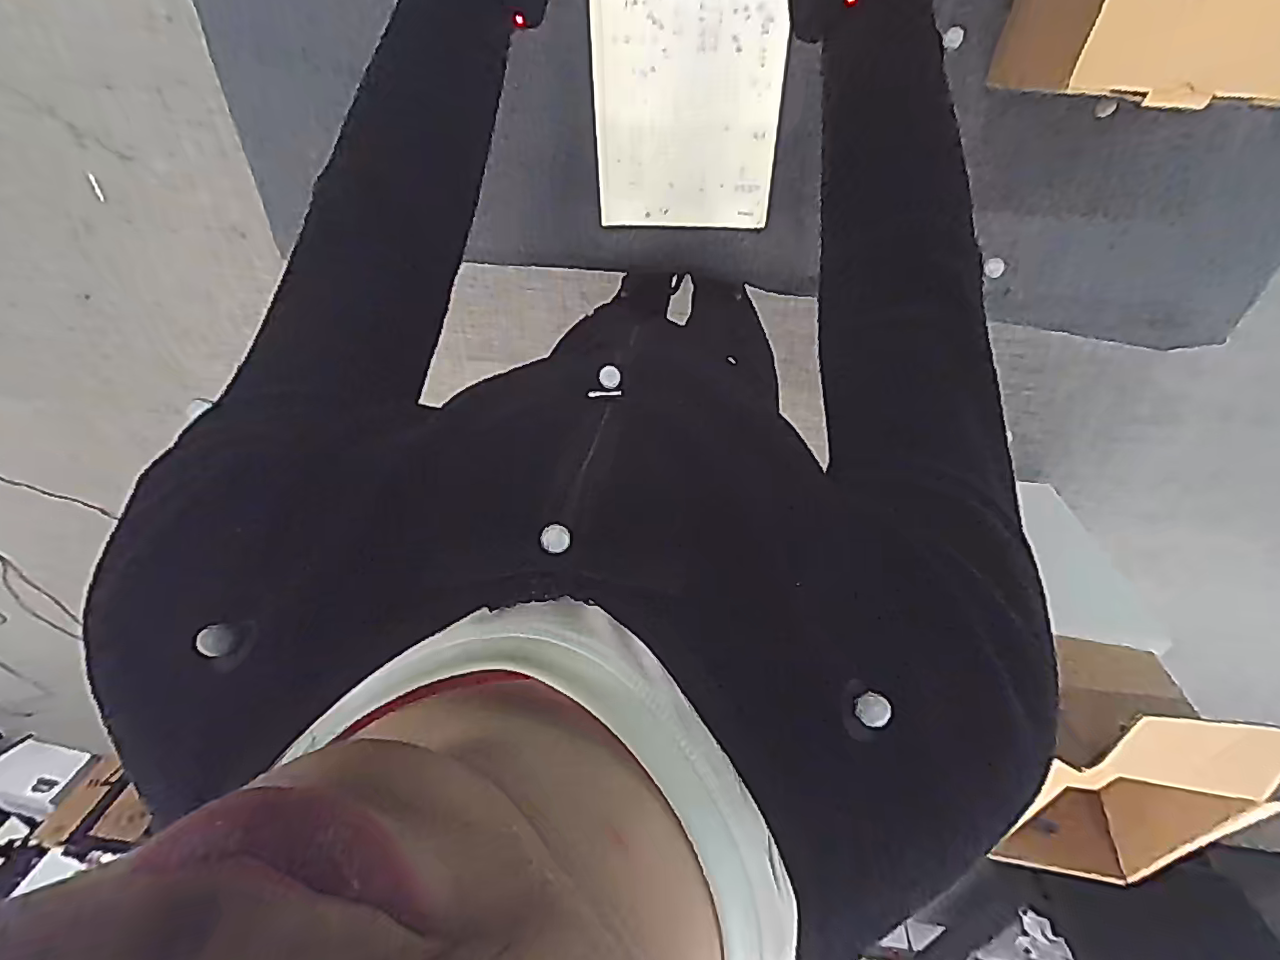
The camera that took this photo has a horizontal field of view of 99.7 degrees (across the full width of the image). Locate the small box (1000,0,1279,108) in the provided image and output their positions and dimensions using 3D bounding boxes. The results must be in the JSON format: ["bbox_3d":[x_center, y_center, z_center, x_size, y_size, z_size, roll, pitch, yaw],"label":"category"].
[{"bbox_3d":[0.418,-0.407,0.417,0.168,0.176,0.179,6,130,4],"label":"small box"}]
